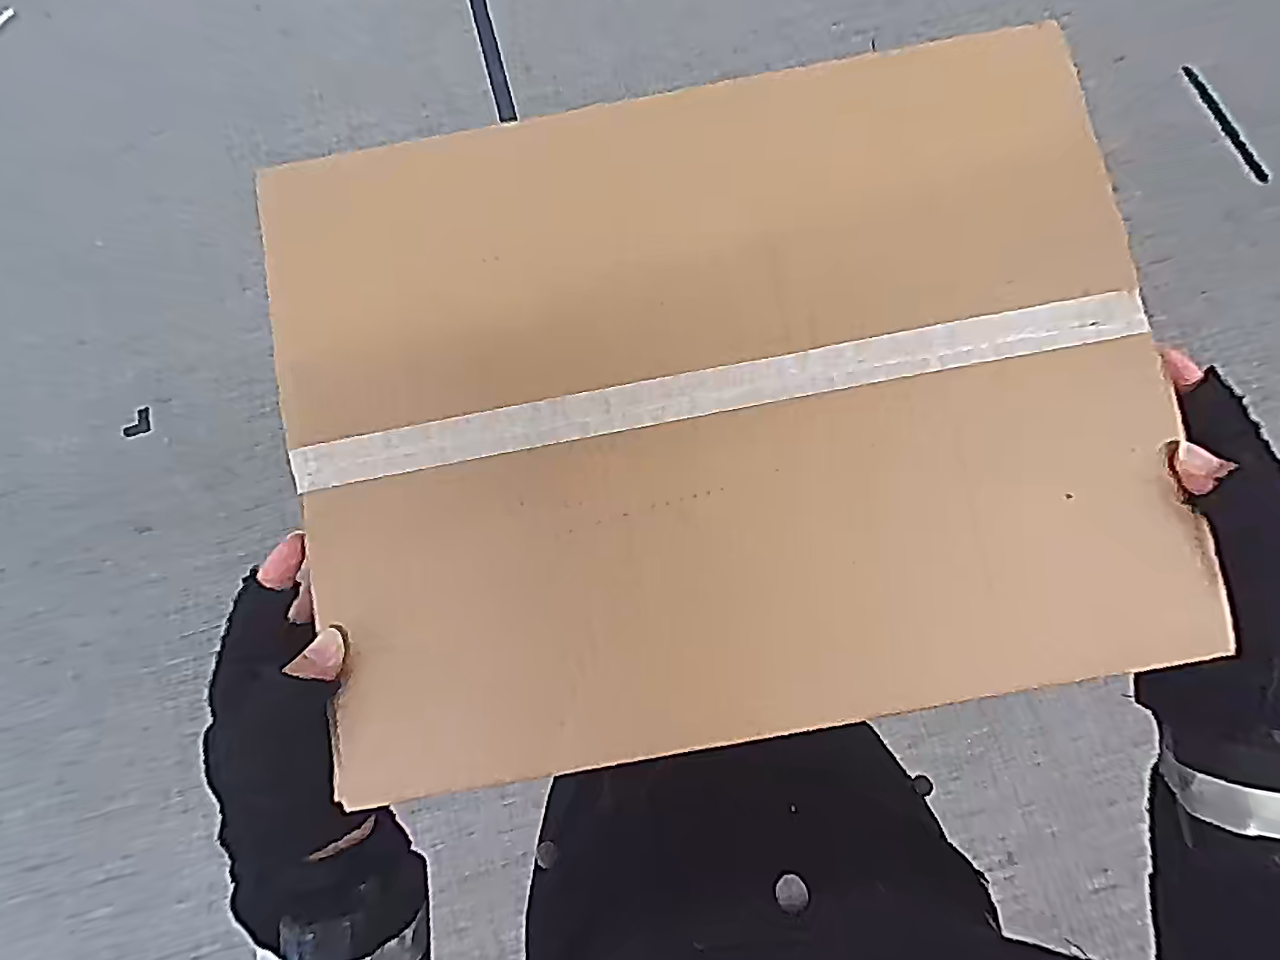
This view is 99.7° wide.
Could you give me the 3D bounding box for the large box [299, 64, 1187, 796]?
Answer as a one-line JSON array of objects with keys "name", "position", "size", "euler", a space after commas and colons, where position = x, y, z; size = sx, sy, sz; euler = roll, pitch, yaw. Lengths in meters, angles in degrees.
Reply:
[{"name": "large box", "position": [0.040, -0.019, 0.421], "size": [0.408, 0.320, 0.320], "euler": [-11, 85, 0]}]
